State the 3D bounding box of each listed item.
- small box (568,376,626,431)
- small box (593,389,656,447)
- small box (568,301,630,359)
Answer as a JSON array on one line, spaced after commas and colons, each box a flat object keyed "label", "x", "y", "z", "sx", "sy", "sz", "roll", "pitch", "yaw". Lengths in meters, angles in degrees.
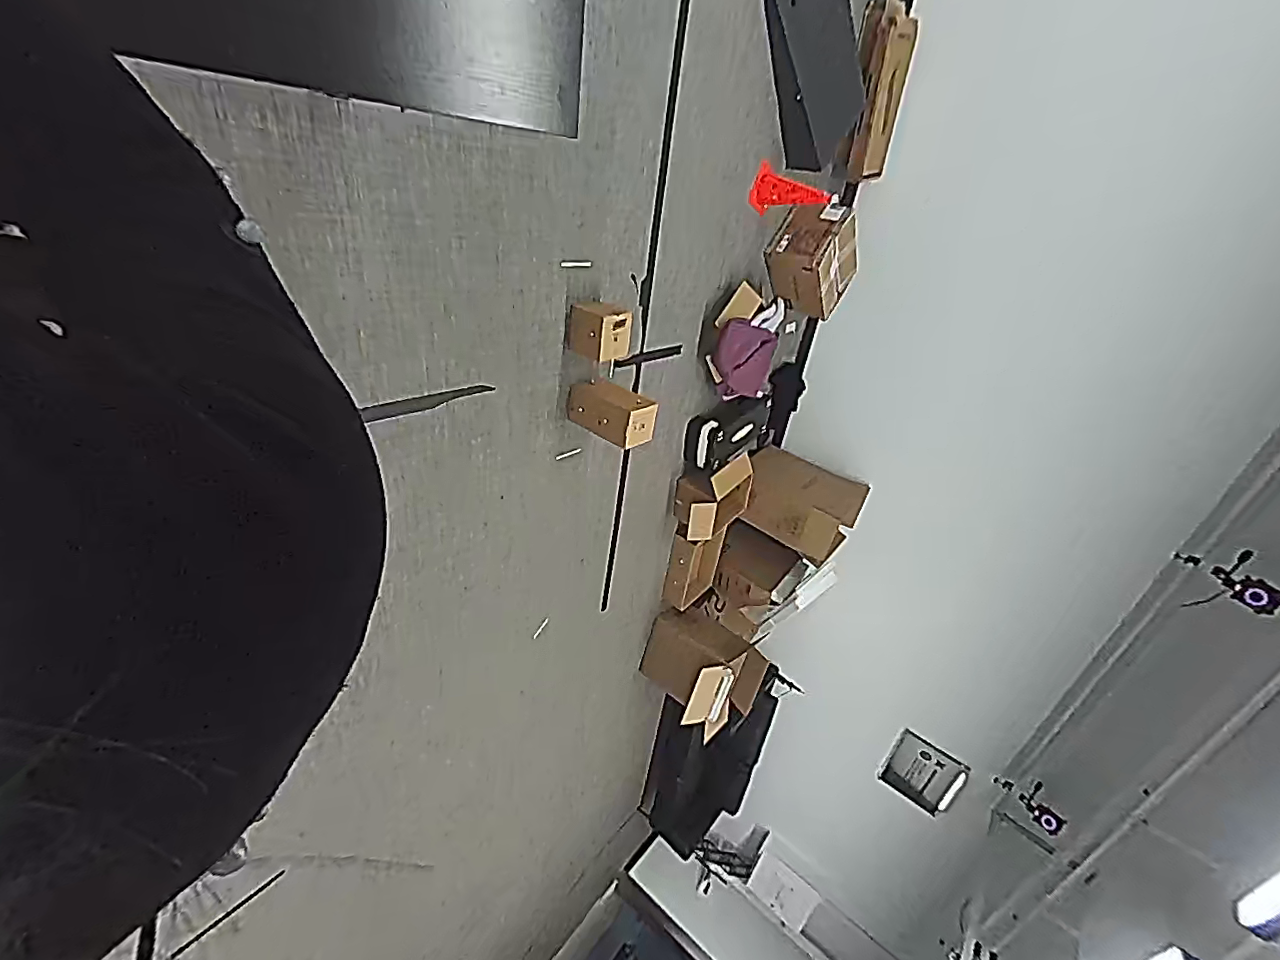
[{"label": "small box", "x": -0.186, "y": -0.323, "z": 2.269, "sx": 0.179, "sy": 0.176, "sz": 0.168, "roll": -26, "pitch": 134, "yaw": -45}, {"label": "small box", "x": -0.062, "y": -0.256, "z": 2.180, "sx": 0.179, "sy": 0.176, "sz": 0.168, "roll": -24, "pitch": 133, "yaw": -46}, {"label": "small box", "x": -0.161, "y": -0.585, "z": 2.084, "sx": 0.168, "sy": 0.176, "sz": 0.179, "roll": -28, "pitch": 137, "yaw": -44}]
